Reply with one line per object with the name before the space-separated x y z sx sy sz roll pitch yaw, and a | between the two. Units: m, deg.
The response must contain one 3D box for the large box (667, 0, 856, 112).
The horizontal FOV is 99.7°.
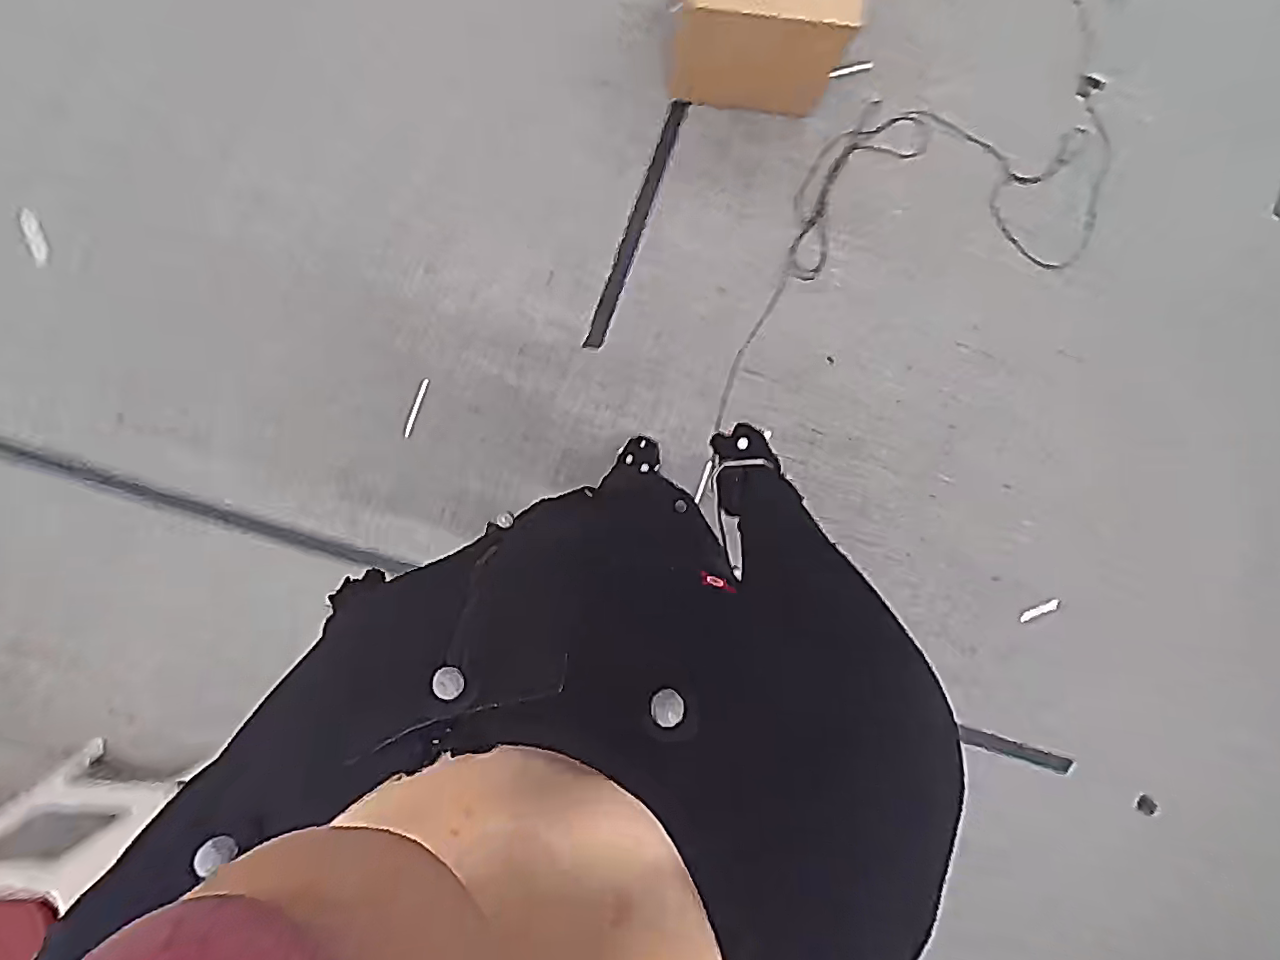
large box | 0.289 -1.207 1.382 0.408 0.320 0.320 2 90 -6
